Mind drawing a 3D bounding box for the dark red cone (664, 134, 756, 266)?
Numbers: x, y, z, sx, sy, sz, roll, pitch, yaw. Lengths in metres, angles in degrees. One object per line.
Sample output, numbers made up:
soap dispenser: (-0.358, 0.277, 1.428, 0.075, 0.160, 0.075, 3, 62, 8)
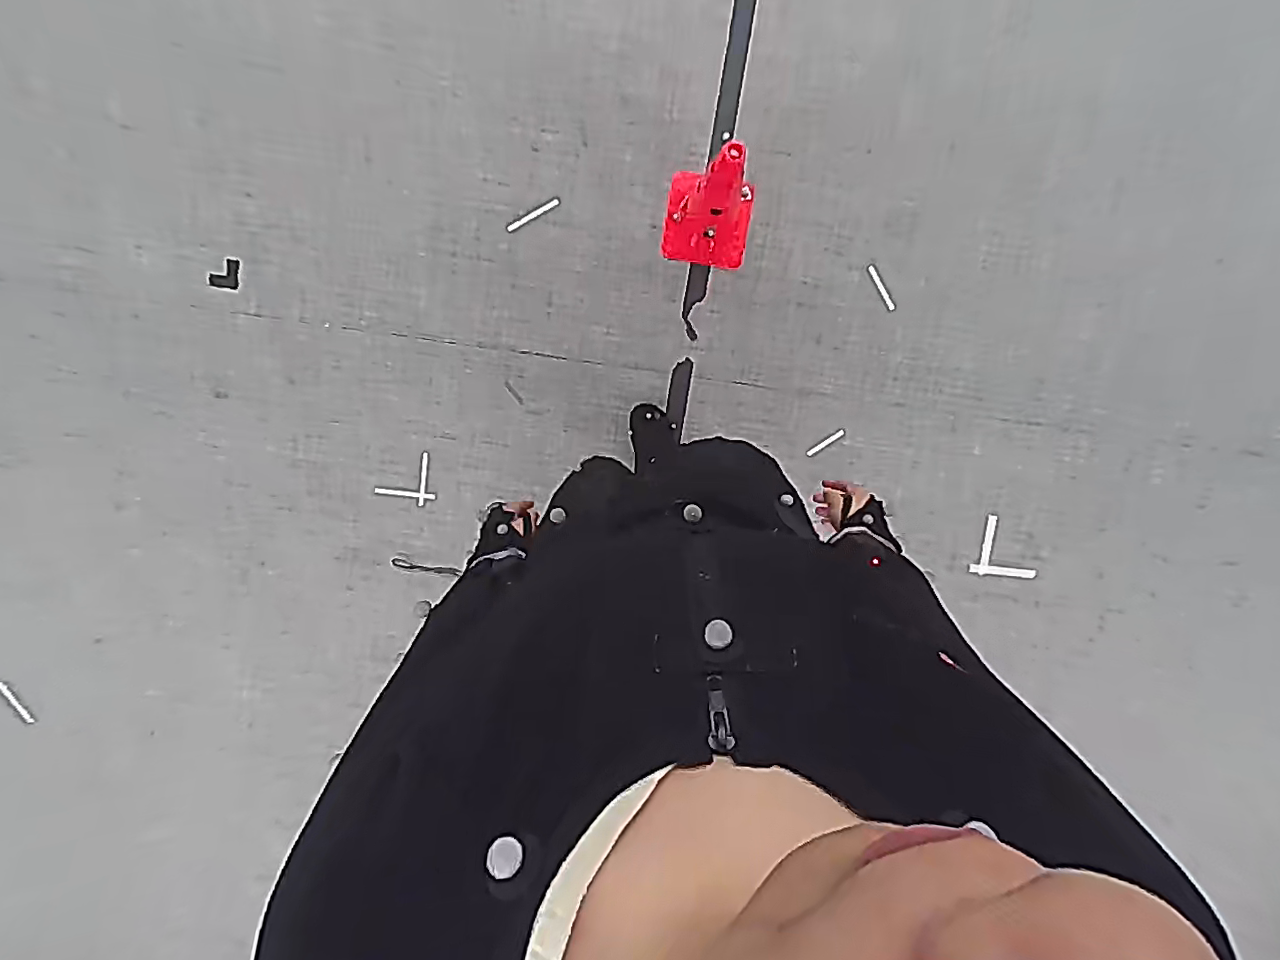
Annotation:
dark red cone: (0.160, -0.587, 1.094, 0.201, 0.394, 0.202, 8, 98, -1)
